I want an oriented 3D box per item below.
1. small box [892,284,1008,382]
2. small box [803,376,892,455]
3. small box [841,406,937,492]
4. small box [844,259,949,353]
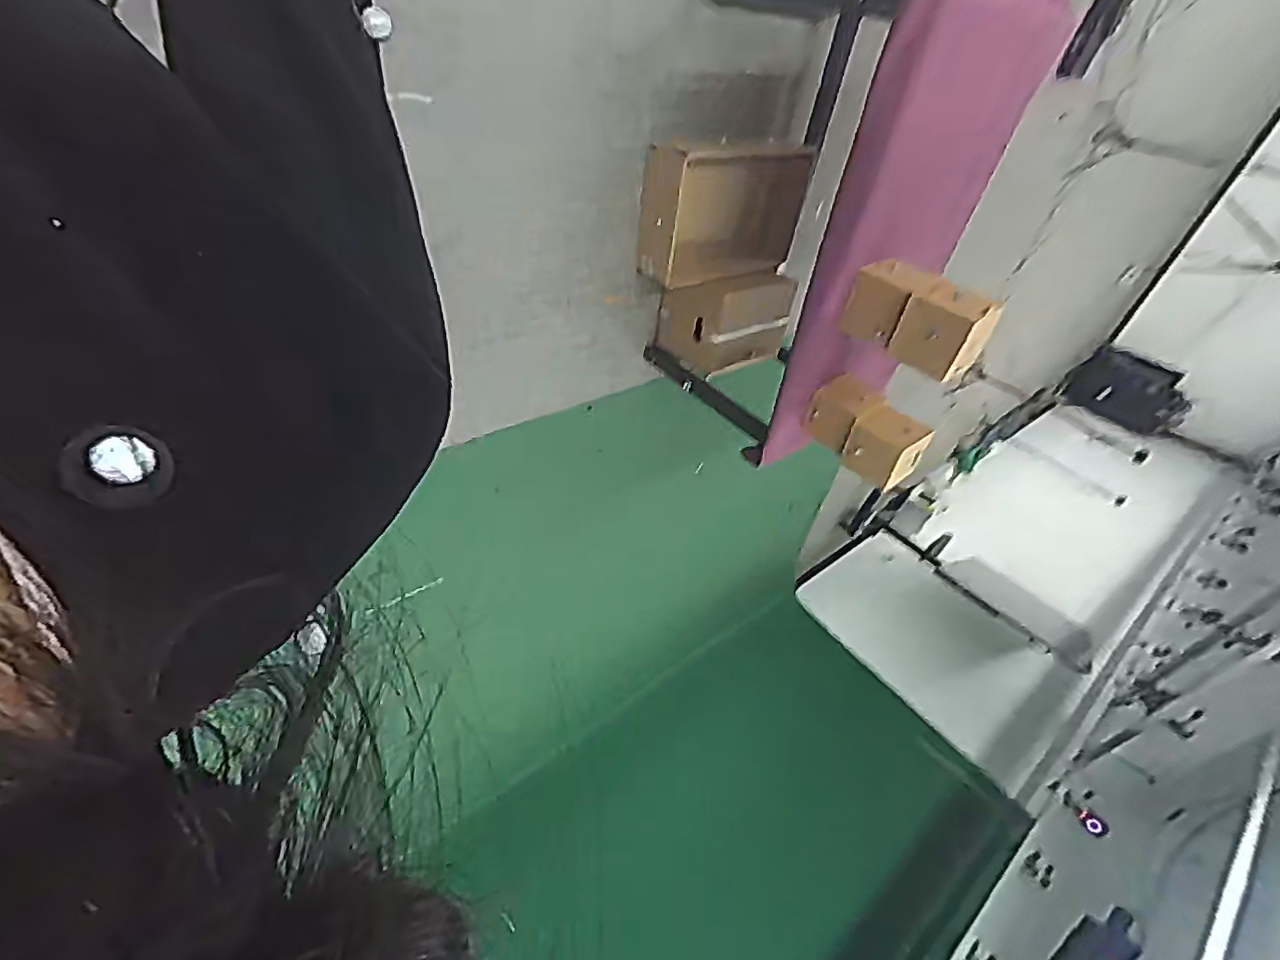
[{"bbox_3d":[0.773,-0.379,1.367,0.168,0.176,0.179,-25,141,-29],"label":"small box"},{"bbox_3d":[0.655,-0.210,1.718,0.179,0.176,0.168,-26,141,-29],"label":"small box"},{"bbox_3d":[0.745,-0.100,1.633,0.179,0.176,0.168,-26,140,-29],"label":"small box"},{"bbox_3d":[0.686,-0.477,1.468,0.168,0.176,0.179,-25,141,-31],"label":"small box"}]
